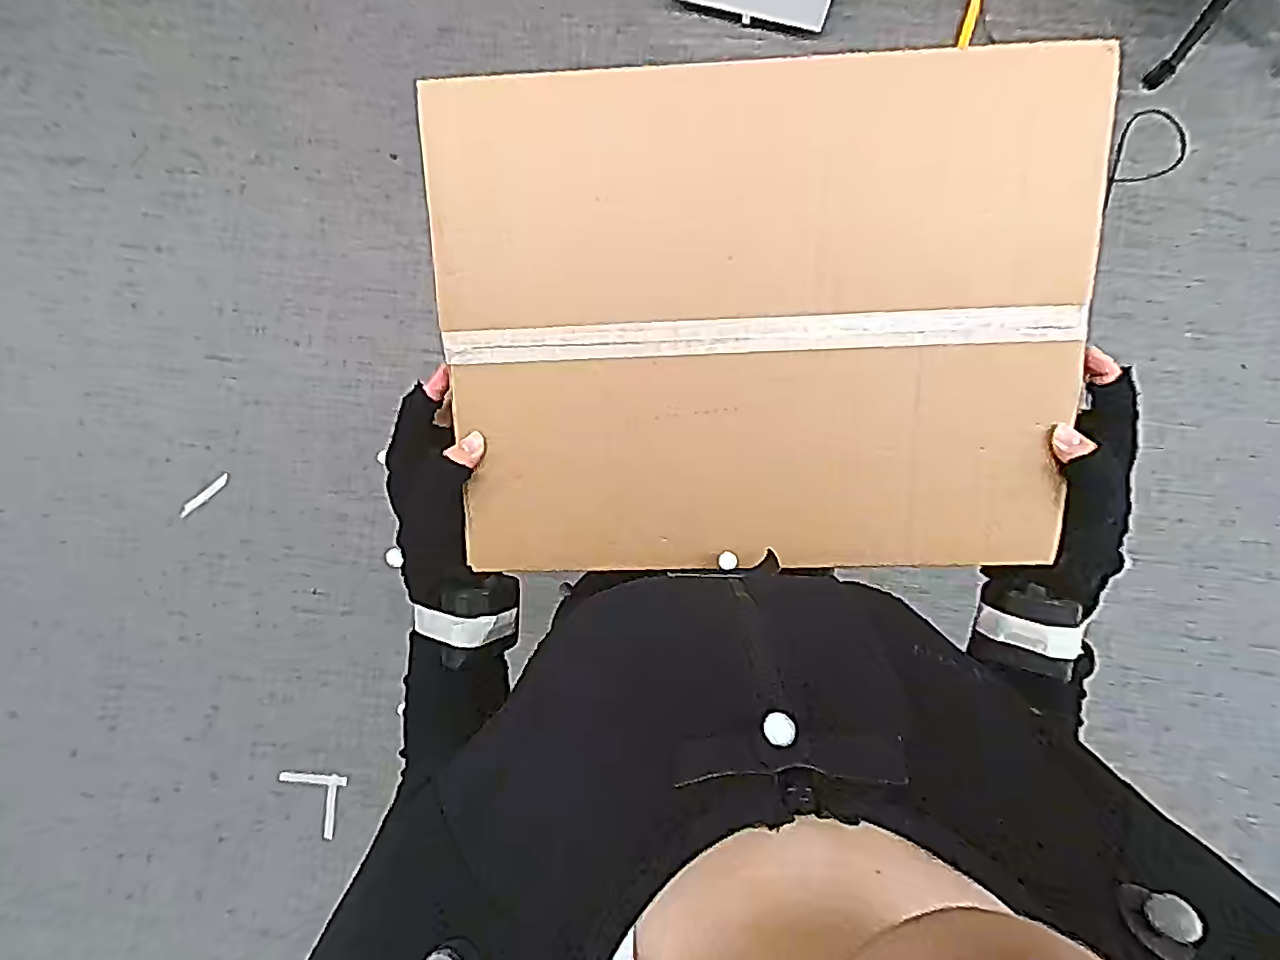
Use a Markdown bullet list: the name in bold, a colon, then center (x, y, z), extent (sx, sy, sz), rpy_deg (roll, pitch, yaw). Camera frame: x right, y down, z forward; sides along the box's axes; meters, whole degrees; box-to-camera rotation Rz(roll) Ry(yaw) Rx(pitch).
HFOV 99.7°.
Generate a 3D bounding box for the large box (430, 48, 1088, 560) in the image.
- **large box**: center (0.076, -0.128, 0.501), extent (0.408, 0.320, 0.320), rpy_deg (-1, 103, 3)
